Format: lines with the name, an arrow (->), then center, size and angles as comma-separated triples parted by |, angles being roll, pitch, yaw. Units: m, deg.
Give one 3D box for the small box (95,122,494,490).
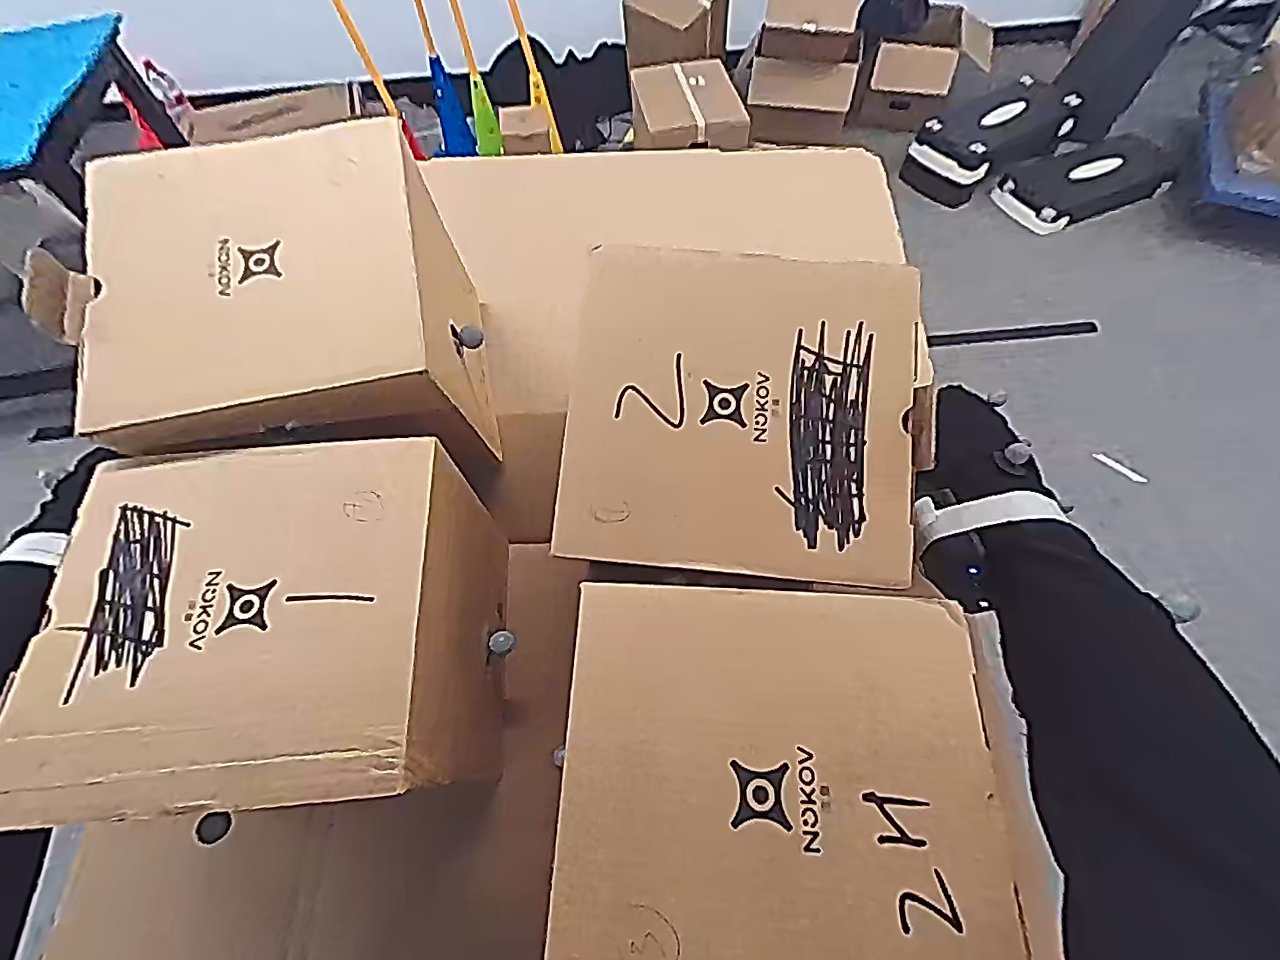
small box -> -0.210, -0.101, 0.378 | 0.179, 0.176, 0.168 | -11, 76, -2
